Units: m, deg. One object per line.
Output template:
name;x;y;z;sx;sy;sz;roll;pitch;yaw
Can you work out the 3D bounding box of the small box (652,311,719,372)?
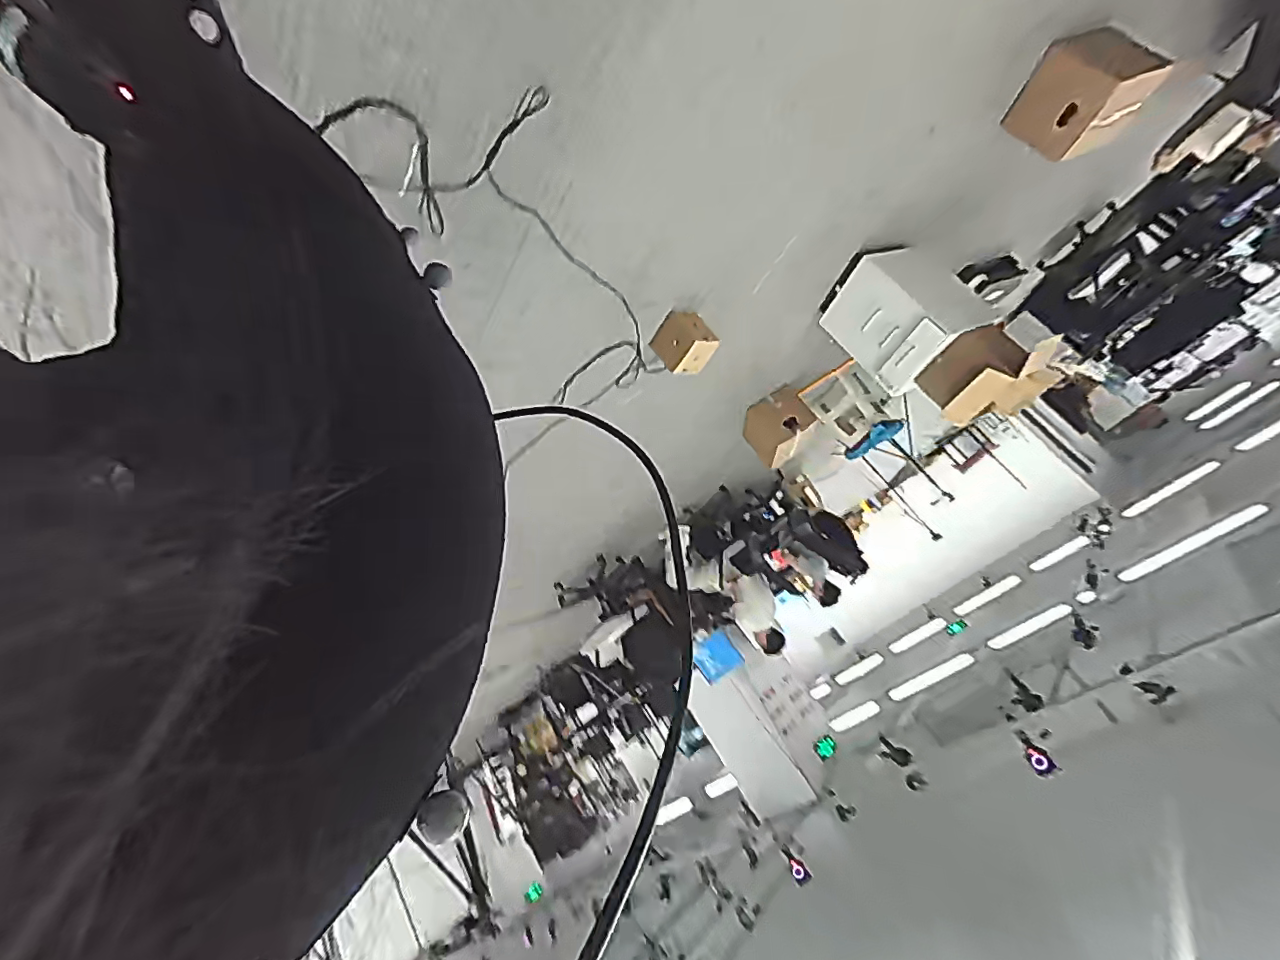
small box;0.175;-0.553;2.154;0.168;0.176;0.179;-13;149;-45
